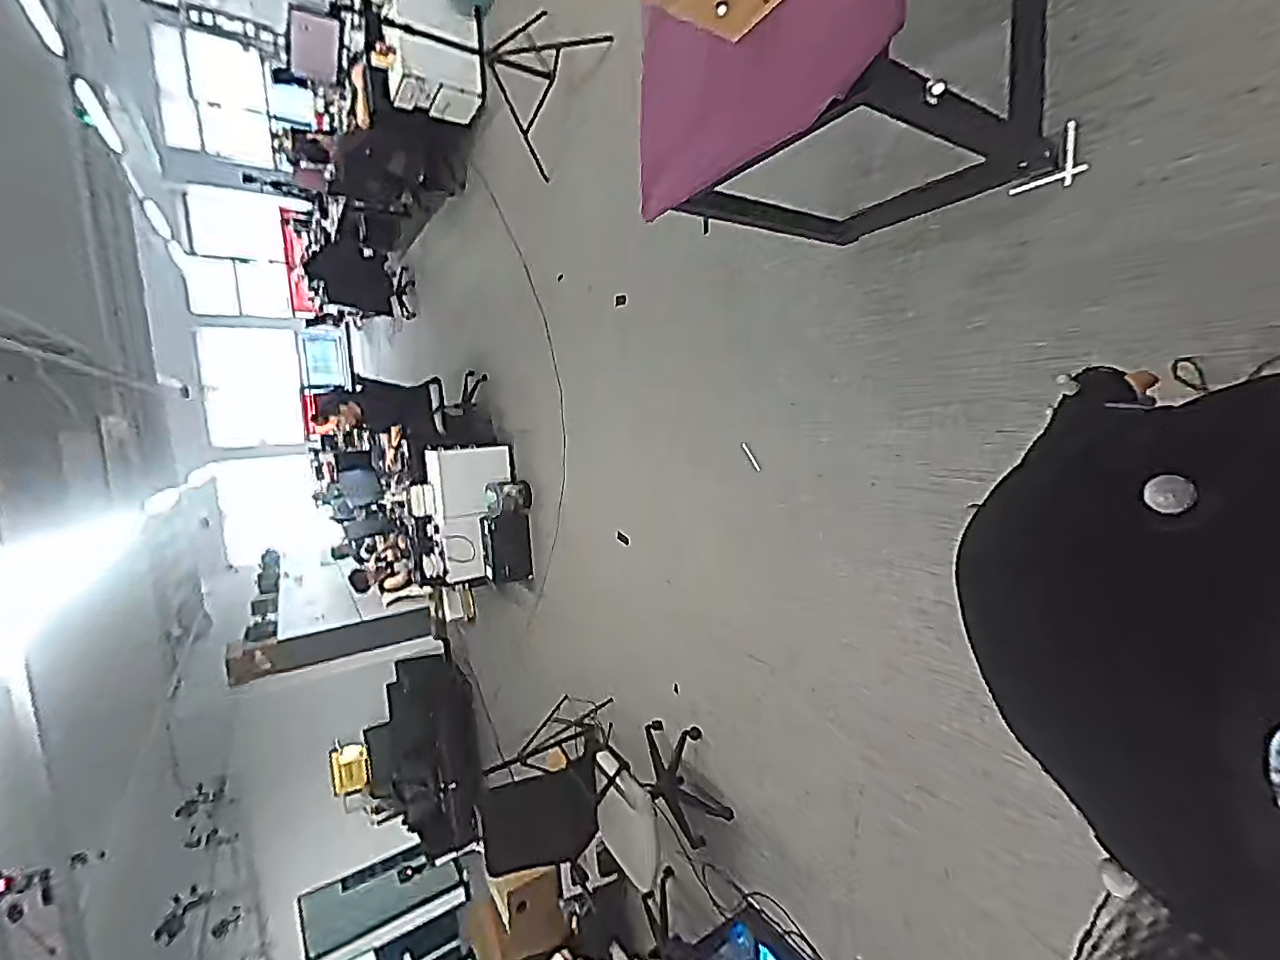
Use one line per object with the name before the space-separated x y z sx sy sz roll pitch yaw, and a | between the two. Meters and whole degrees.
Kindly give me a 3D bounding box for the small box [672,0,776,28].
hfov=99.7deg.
small box | 0.164 -0.930 0.931 0.168 0.176 0.179 3 98 57
